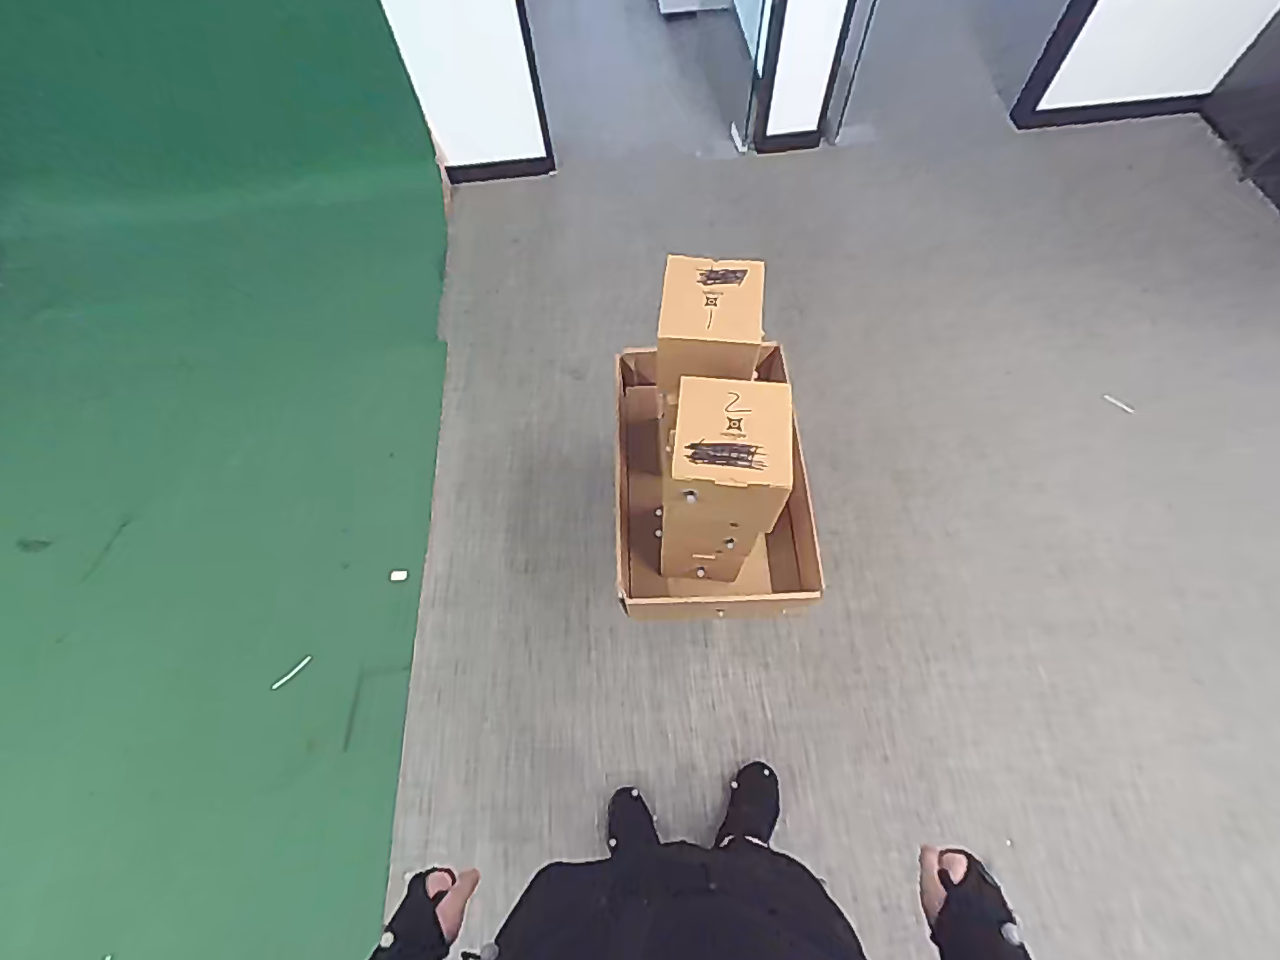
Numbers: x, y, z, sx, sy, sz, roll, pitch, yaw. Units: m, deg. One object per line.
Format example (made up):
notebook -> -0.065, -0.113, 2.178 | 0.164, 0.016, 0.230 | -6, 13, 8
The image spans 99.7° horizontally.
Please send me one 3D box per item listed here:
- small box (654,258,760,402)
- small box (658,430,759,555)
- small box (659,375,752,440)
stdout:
small box -> 0.114, -0.261, 0.959 | 0.168, 0.176, 0.179 | 5, 67, 4
small box -> 0.123, 0.029, 0.997 | 0.168, 0.176, 0.179 | 4, 63, 3
small box -> 0.124, -0.189, 1.107 | 0.168, 0.176, 0.179 | -4, 66, 0
